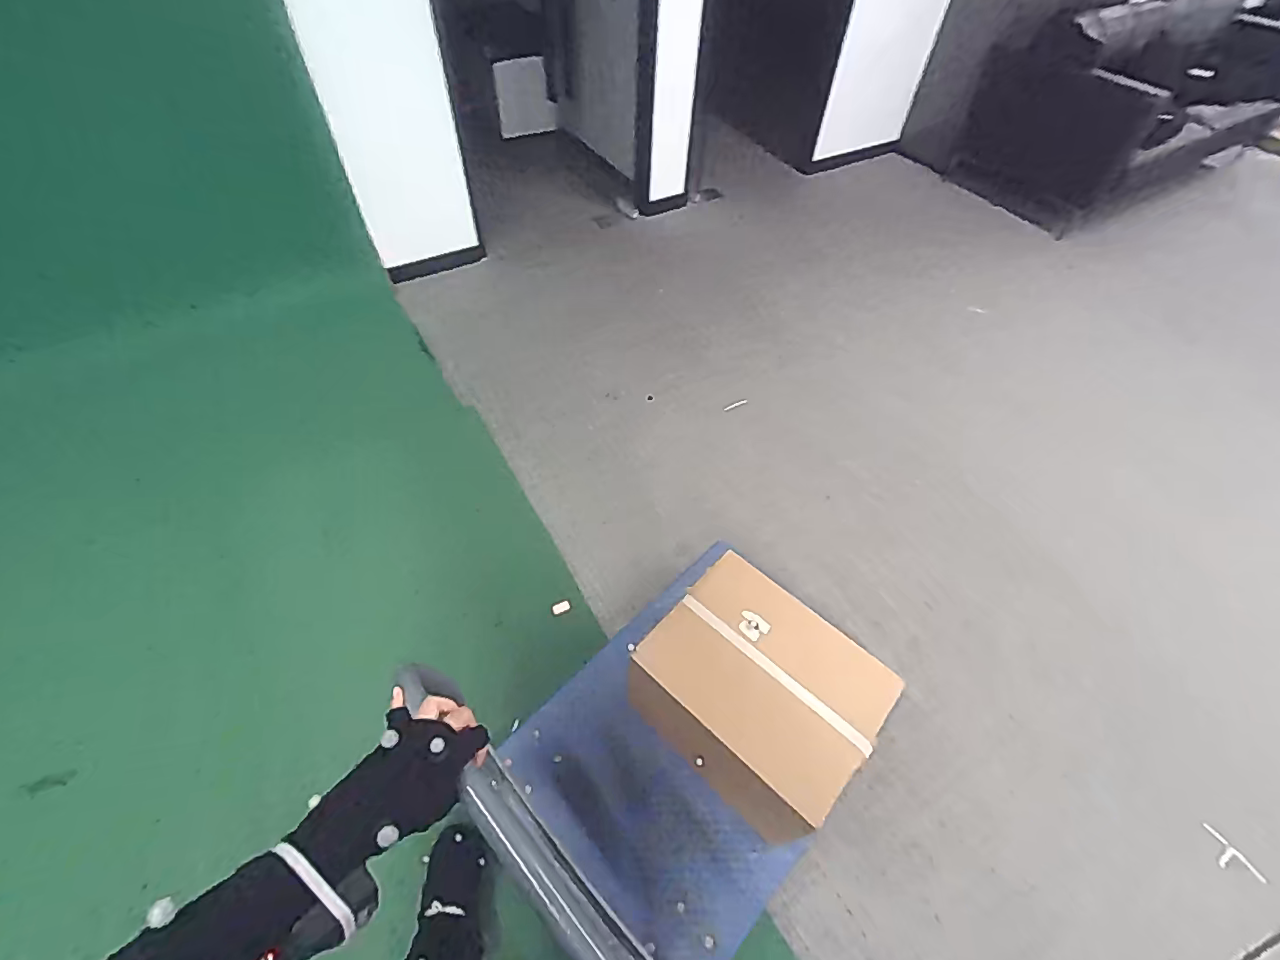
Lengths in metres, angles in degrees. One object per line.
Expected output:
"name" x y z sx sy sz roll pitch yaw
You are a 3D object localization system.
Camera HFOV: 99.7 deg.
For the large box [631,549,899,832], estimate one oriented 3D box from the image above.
"large box" 0.228 0.428 1.112 0.408 0.320 0.320 36 58 24
